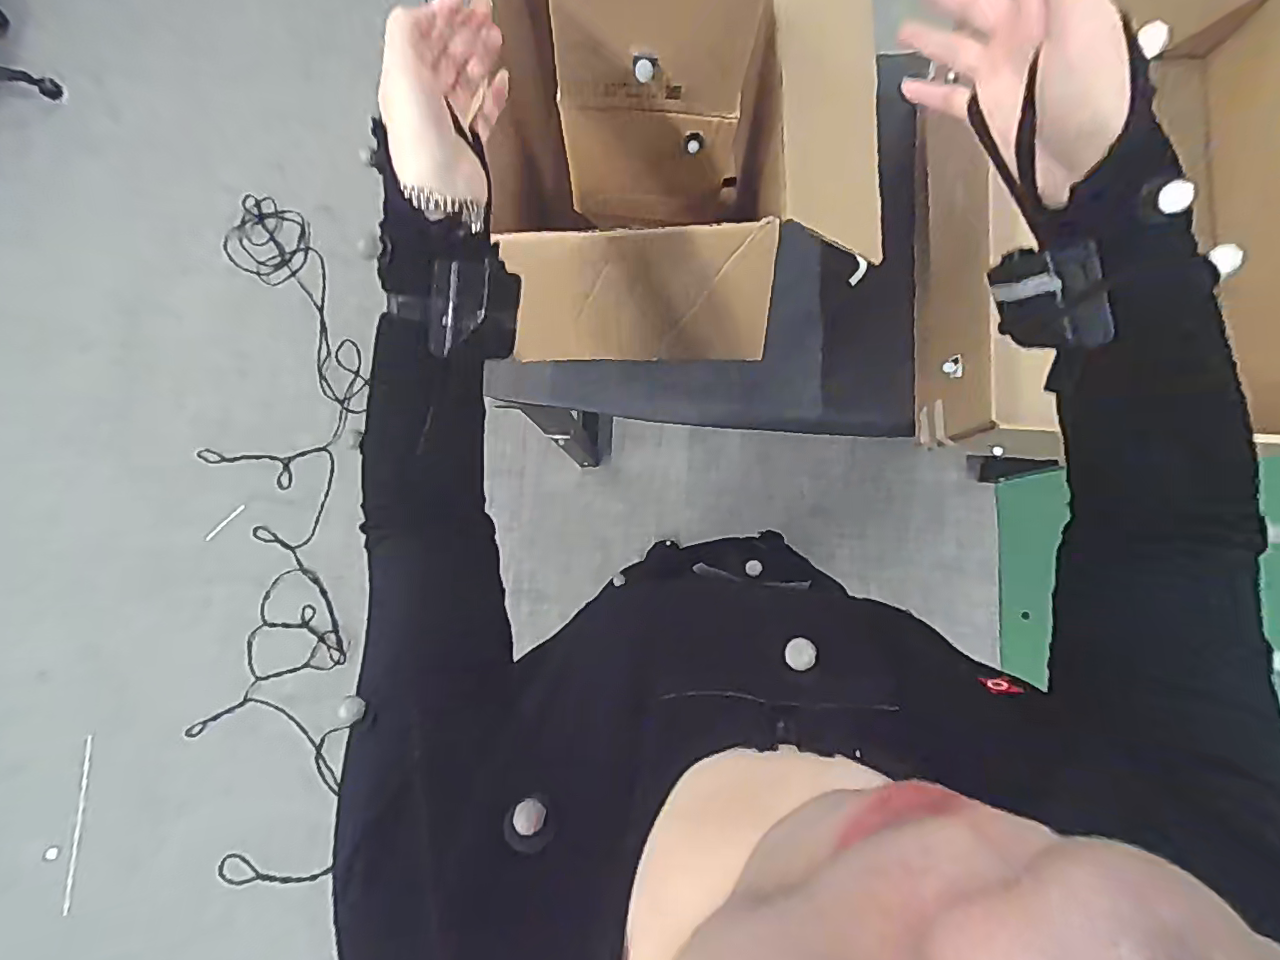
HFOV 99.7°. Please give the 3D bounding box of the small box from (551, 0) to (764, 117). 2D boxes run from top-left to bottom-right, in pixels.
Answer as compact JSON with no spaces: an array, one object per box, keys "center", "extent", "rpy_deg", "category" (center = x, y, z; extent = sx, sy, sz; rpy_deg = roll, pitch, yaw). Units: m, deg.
[{"center":[0.013,-0.443,0.439],"extent":[0.168,0.176,0.179],"rpy_deg":[2,82,-2],"category":"small box"}]
